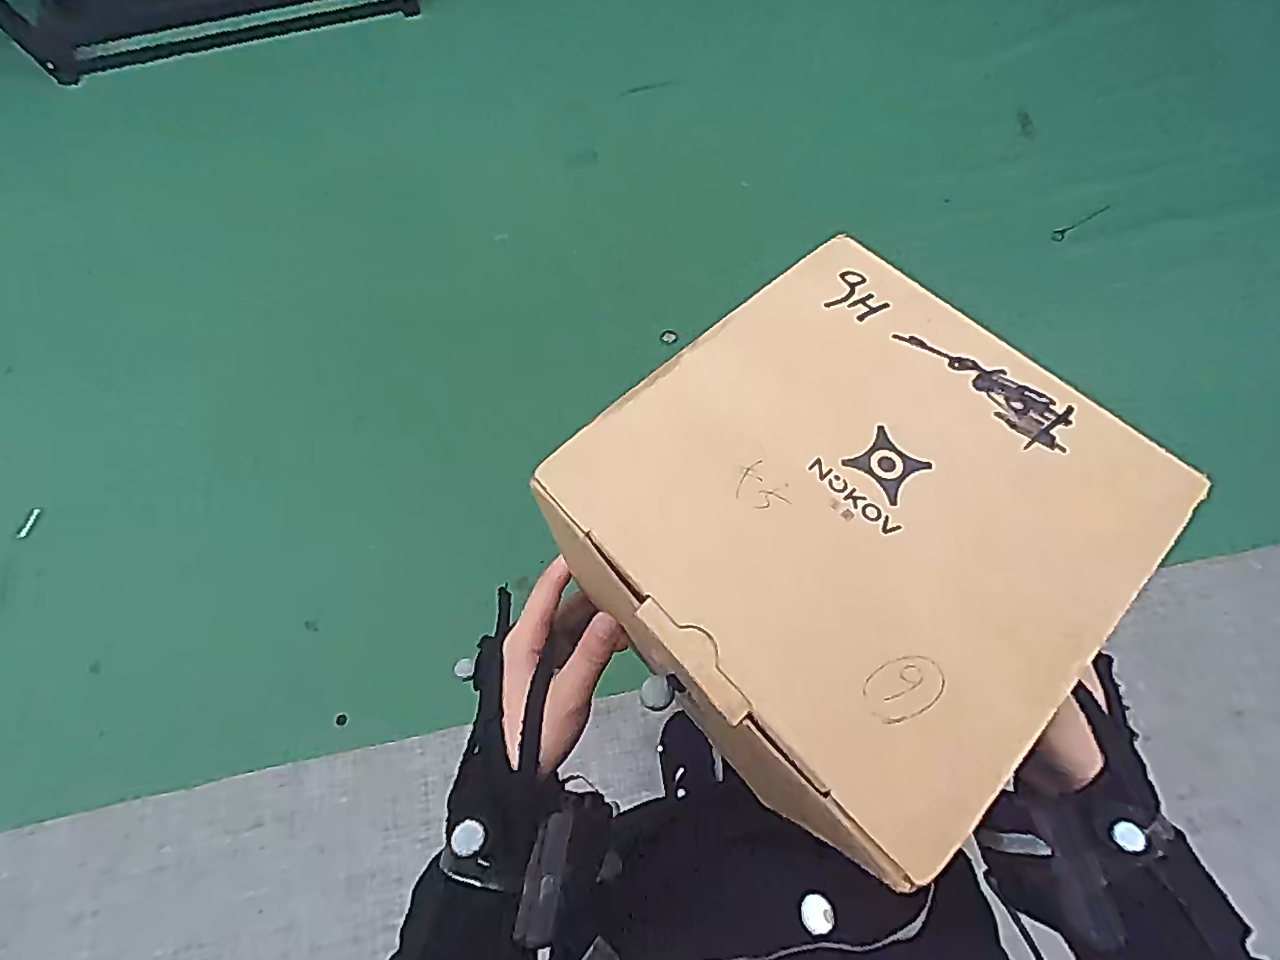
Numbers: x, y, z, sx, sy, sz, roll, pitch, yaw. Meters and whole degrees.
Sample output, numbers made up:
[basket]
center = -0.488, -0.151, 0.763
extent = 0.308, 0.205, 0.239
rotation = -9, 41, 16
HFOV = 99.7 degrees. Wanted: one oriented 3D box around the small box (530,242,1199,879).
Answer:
[small box]
center = 0.078, 0.035, 0.263
extent = 0.179, 0.176, 0.168
rotation = -40, 71, -15
